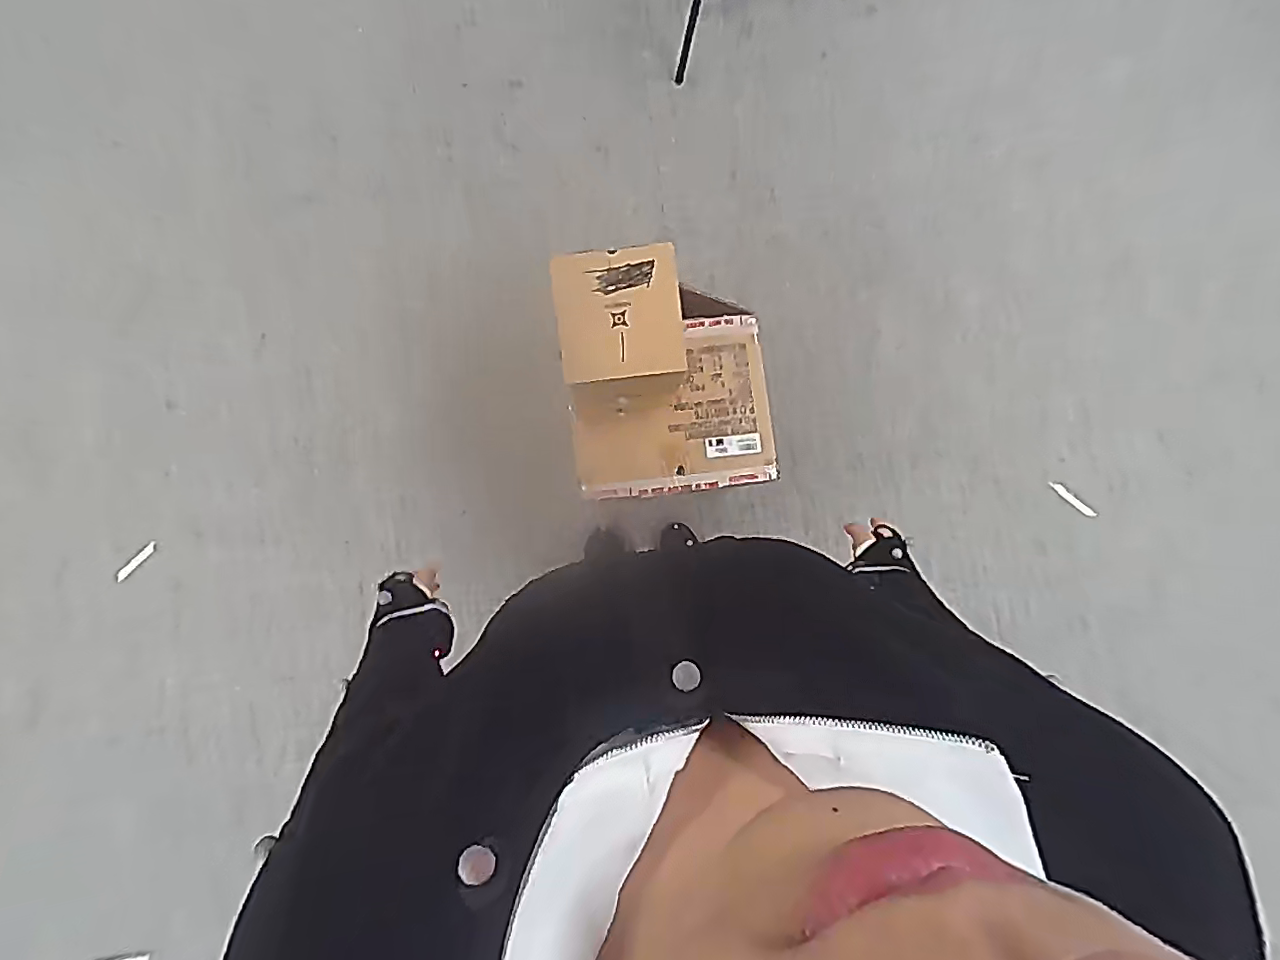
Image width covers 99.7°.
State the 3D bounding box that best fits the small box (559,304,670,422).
[{"bbox_3d":[-0.041,-0.211,0.956,0.168,0.176,0.179,-10,89,-1],"label":"small box"}]

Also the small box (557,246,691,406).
[{"bbox_3d":[-0.023,-0.214,0.792,0.168,0.176,0.179,-7,89,-1],"label":"small box"}]
